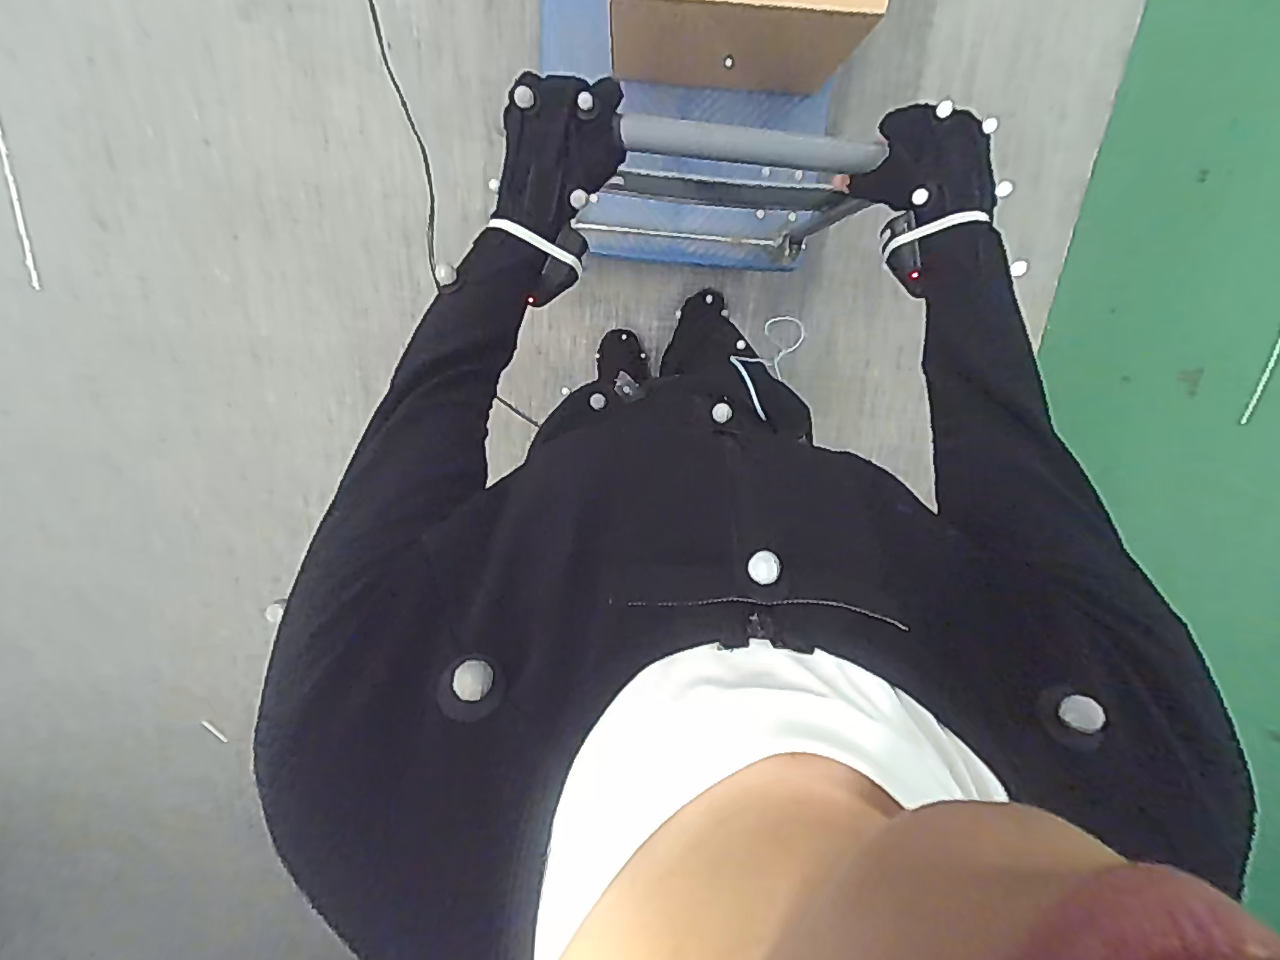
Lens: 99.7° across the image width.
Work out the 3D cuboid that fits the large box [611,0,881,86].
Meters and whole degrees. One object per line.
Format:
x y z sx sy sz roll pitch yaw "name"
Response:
0.163 -0.888 0.888 0.408 0.320 0.320 3 107 -1 "large box"
